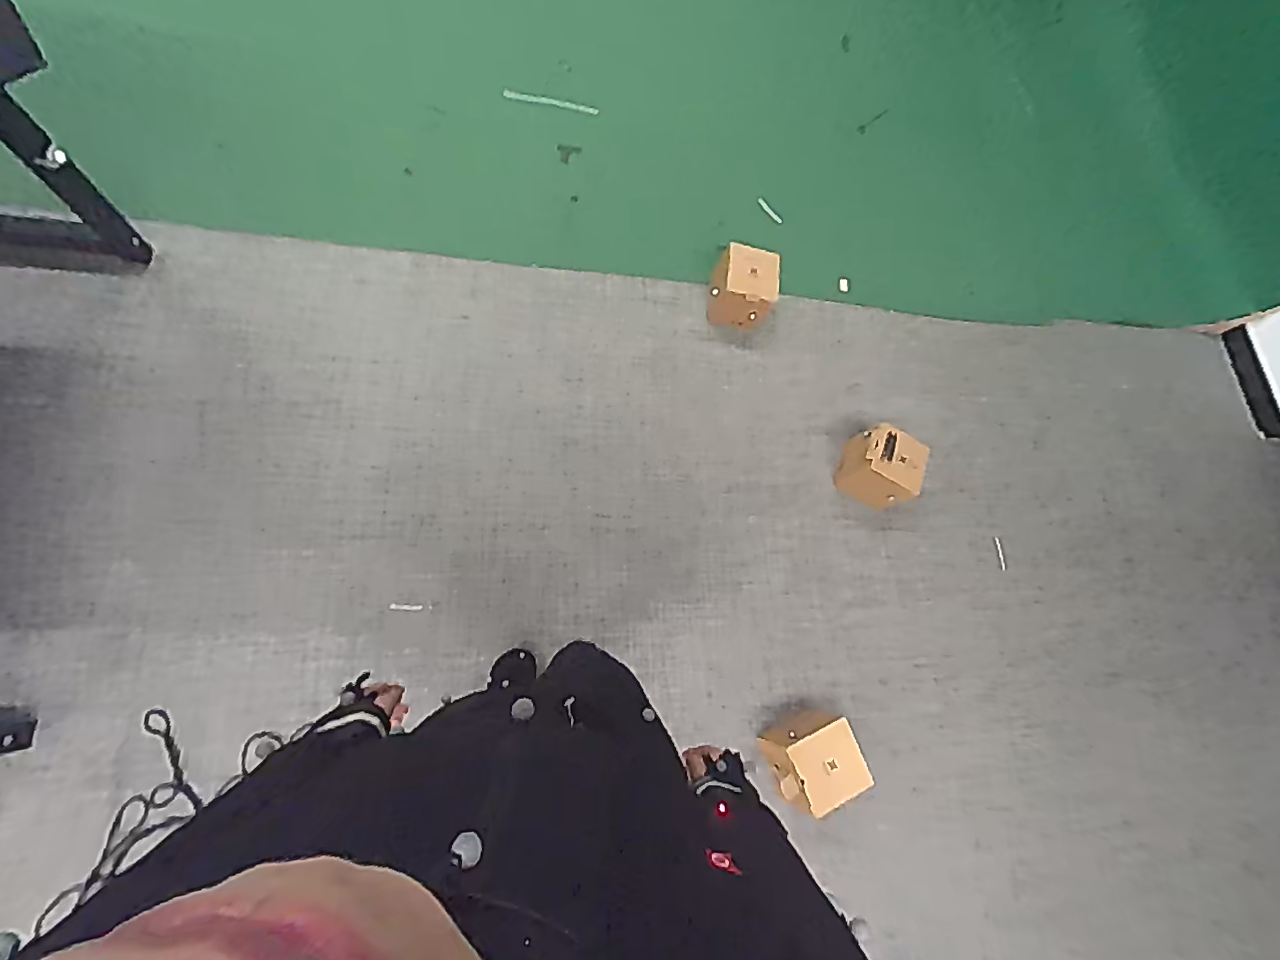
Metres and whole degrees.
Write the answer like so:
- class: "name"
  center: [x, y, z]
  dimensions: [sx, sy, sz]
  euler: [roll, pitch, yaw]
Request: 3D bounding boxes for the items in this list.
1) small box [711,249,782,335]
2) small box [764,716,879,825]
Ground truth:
- class: "small box"
  center: [0.331, -0.581, 1.692]
  dimensions: [0.168, 0.176, 0.179]
  euler: [10, 71, -12]
- class: "small box"
  center: [0.439, 0.703, 1.334]
  dimensions: [0.179, 0.176, 0.168]
  euler: [-19, 79, -17]
